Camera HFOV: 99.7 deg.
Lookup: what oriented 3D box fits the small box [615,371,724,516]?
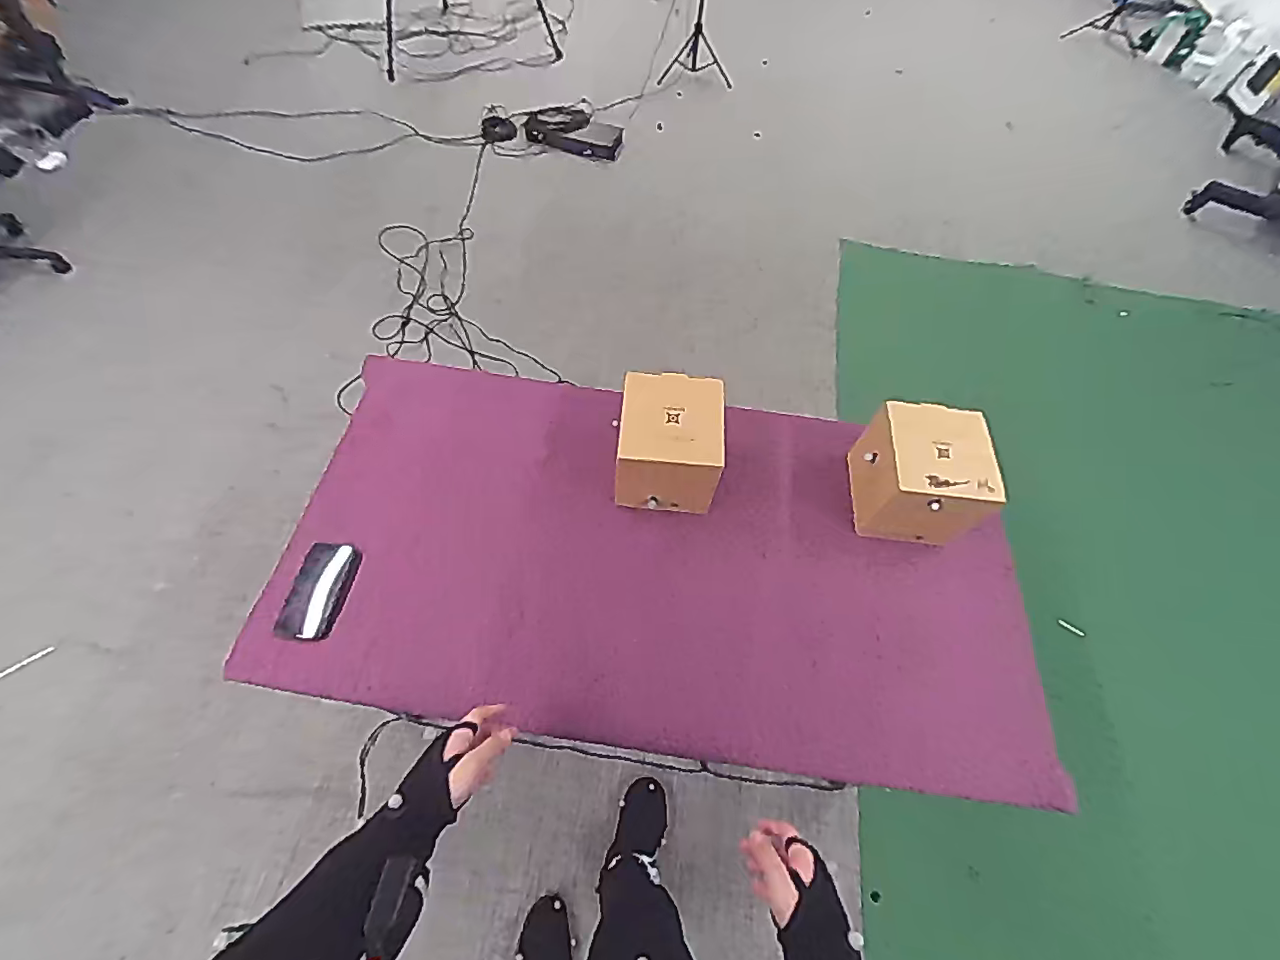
[{"bbox_3d":[0.047,-0.058,0.926,0.168,0.176,0.179,5,59,0],"label":"small box"}]

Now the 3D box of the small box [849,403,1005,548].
[{"bbox_3d":[0.473,-0.005,0.924,0.168,0.176,0.179,7,58,1],"label":"small box"}]
